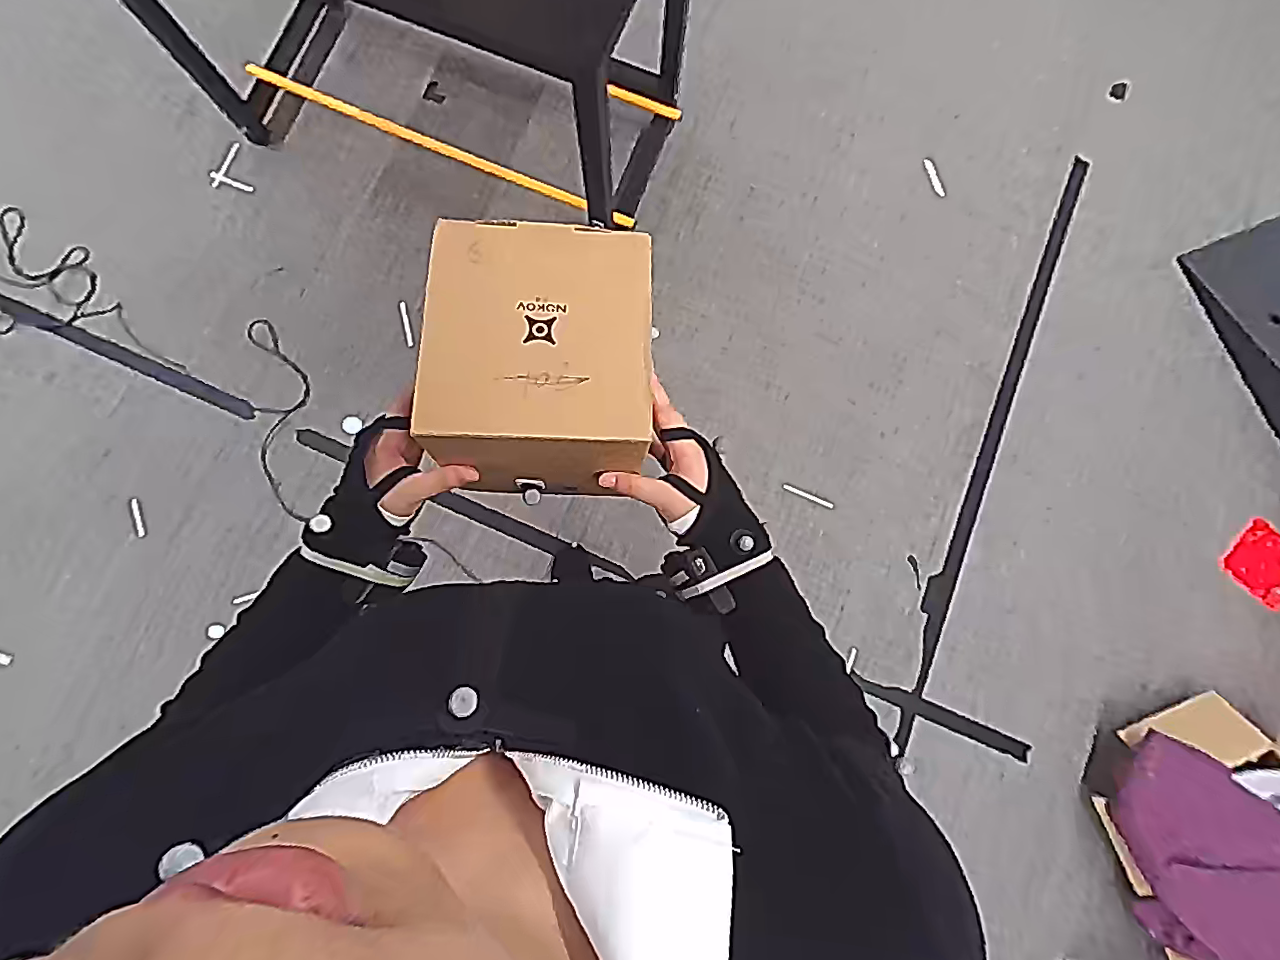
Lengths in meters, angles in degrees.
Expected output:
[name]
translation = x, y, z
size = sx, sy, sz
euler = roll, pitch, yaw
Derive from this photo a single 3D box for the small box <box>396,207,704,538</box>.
[small box]
translation = -0.055, -0.059, 0.386
size = 0.168, 0.176, 0.179
euler = 0, 75, -5
